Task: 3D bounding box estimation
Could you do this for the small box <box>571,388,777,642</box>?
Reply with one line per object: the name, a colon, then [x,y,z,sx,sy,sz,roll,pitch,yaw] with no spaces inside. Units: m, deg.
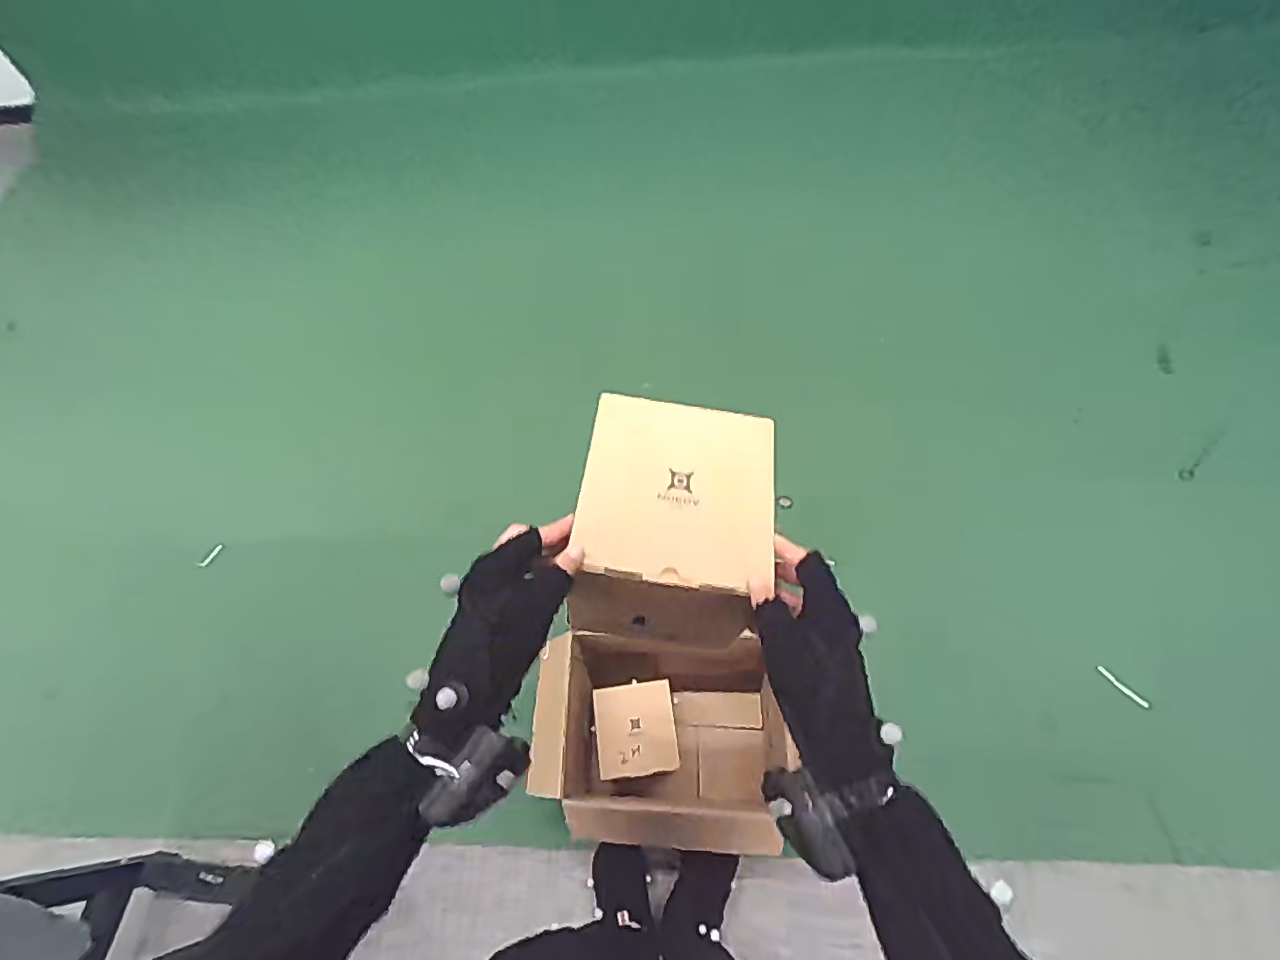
small box: [0.027,0.041,0.528,0.168,0.176,0.179,8,59,-1]
